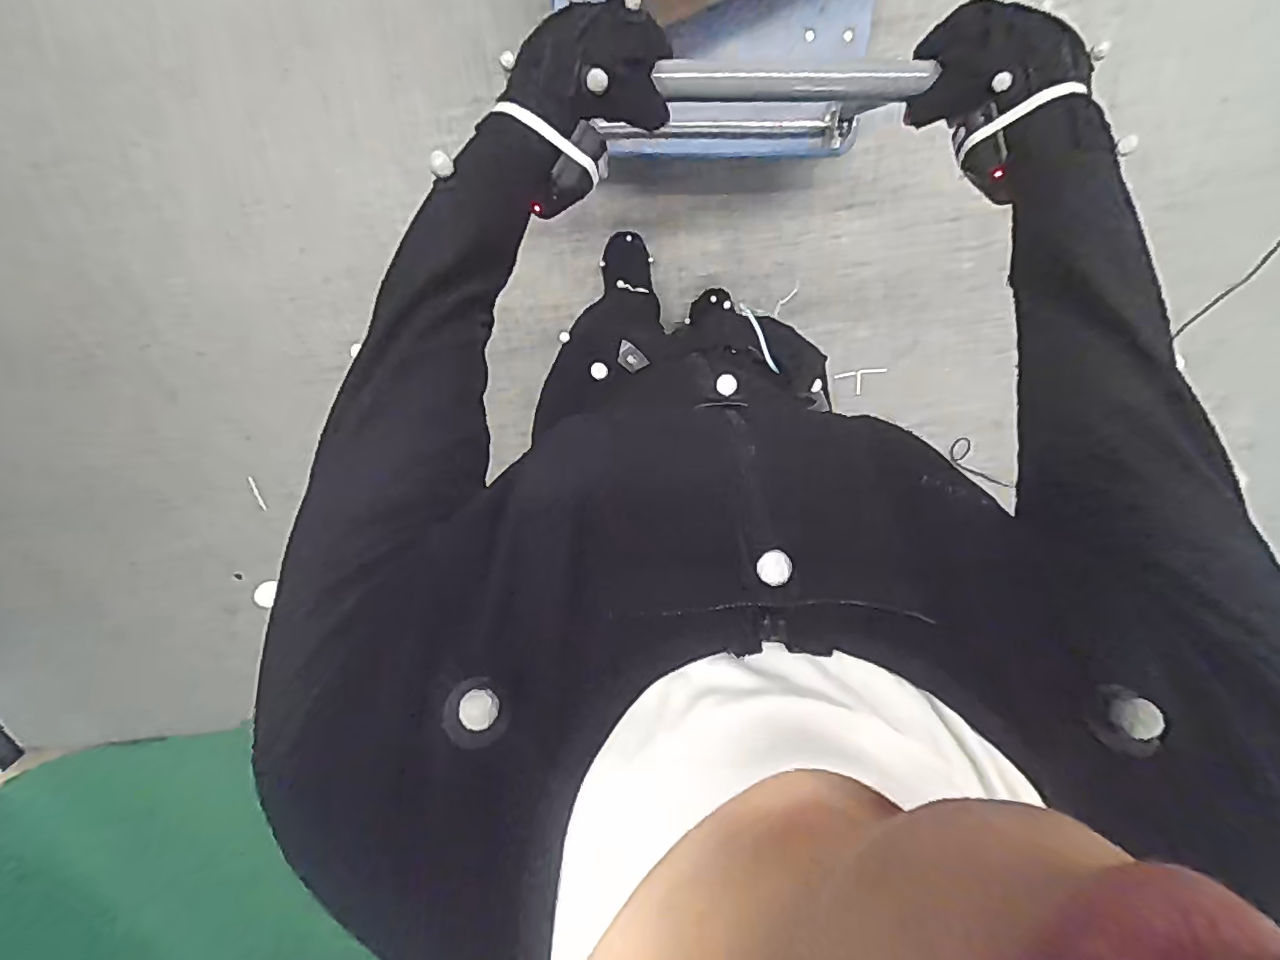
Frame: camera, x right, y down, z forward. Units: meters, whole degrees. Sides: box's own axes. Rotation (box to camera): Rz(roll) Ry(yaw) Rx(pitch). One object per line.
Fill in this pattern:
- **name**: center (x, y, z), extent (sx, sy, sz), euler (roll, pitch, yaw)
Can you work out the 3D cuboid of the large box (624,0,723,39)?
- **large box**: center (0.125, -0.932, 0.767), extent (0.408, 0.320, 0.320), euler (-18, 113, 10)
